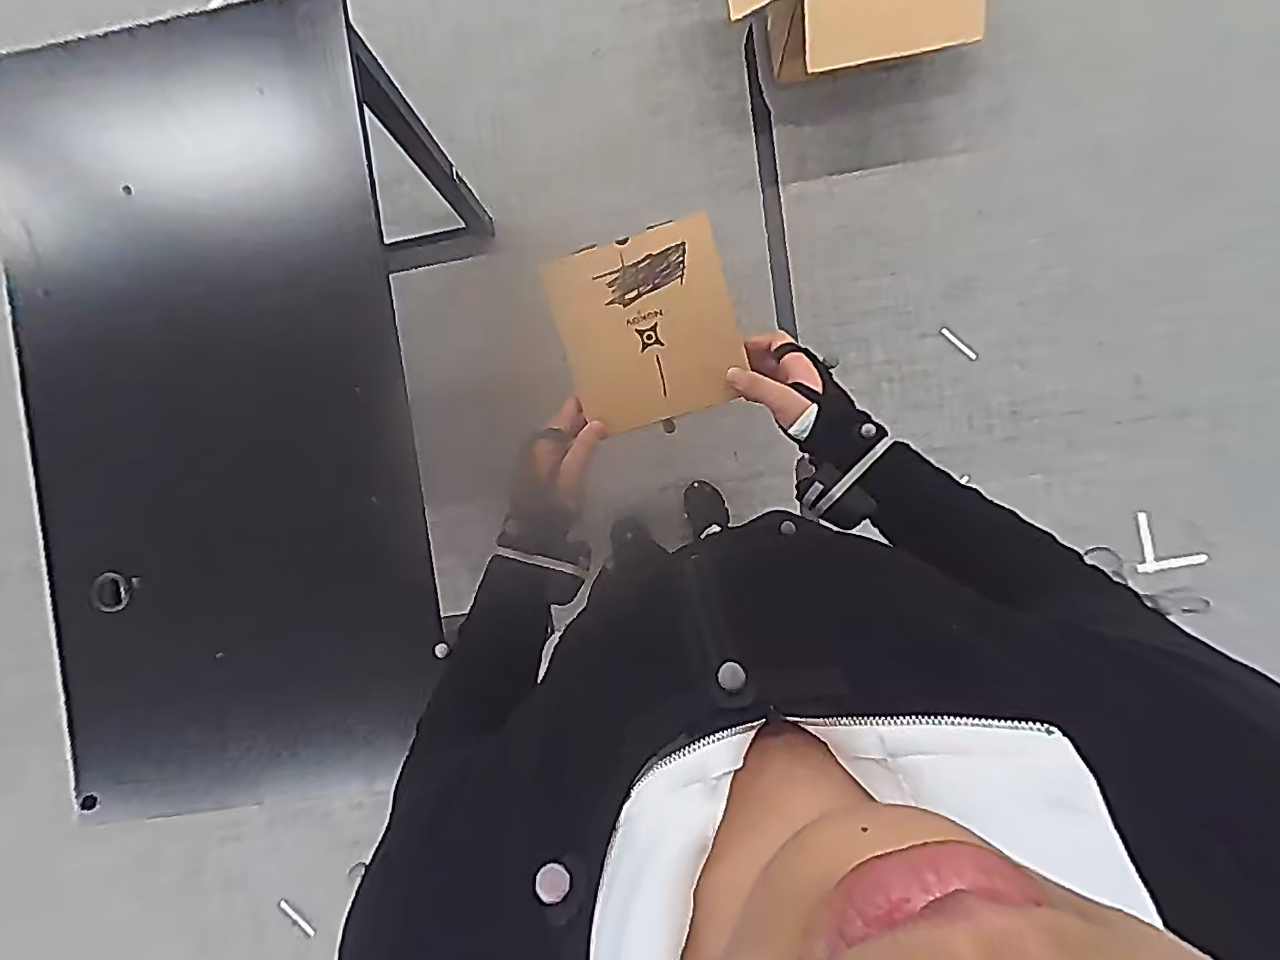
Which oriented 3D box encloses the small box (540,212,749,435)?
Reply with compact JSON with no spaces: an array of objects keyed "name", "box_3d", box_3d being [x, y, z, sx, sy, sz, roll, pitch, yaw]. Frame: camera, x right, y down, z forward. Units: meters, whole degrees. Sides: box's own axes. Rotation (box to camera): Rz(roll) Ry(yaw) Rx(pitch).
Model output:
[{"name":"small box","box_3d":[0.007,-0.155,0.594,0.168,0.176,0.179,-16,96,4]}]
